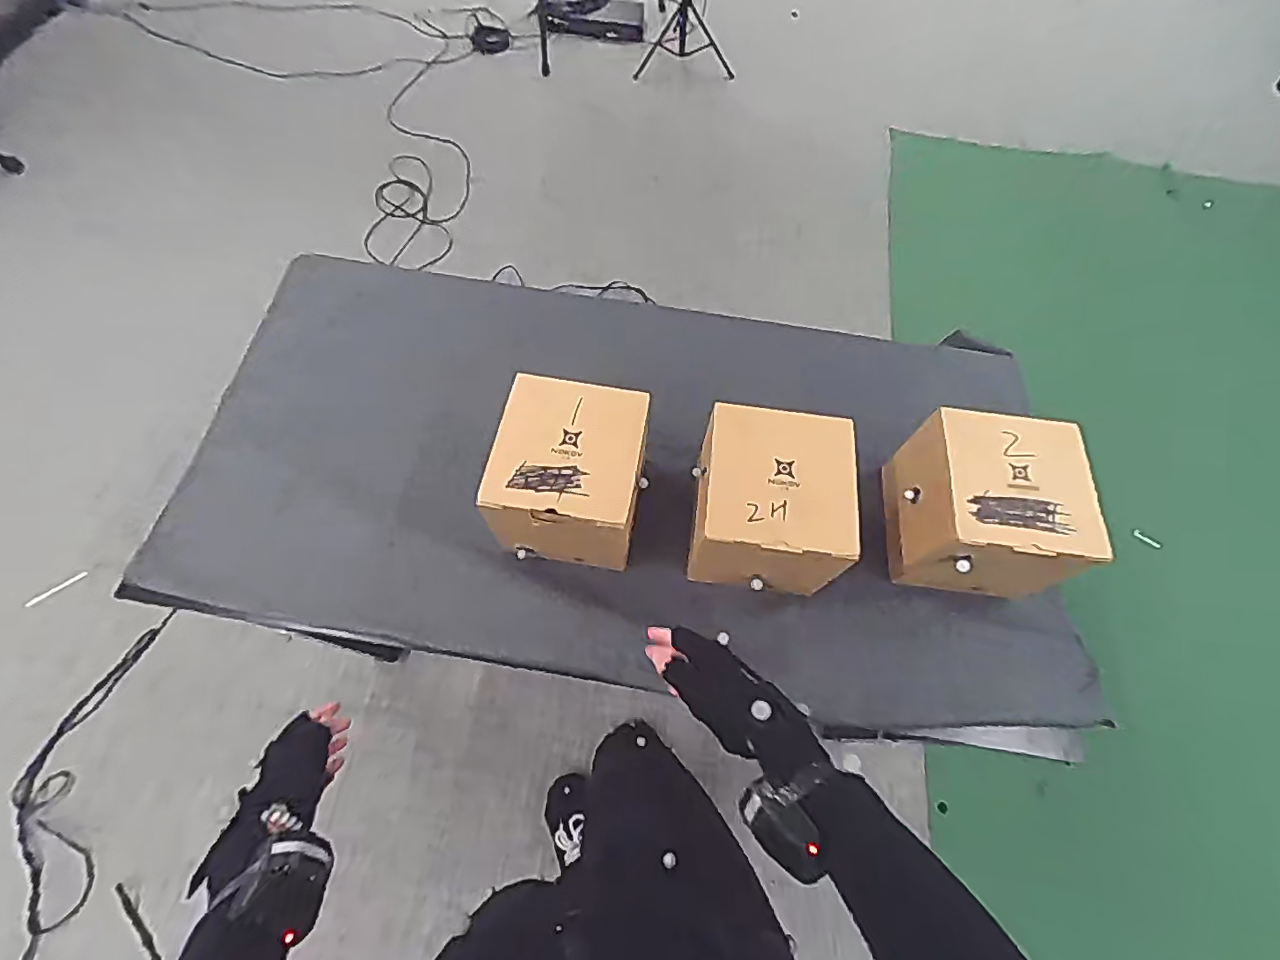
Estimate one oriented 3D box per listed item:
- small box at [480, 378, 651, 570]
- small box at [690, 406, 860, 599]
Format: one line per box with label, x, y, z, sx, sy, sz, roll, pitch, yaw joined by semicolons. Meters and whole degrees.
small box;-0.082;0.001;0.683;0.168;0.176;0.179;9;63;1
small box;0.158;0.034;0.676;0.168;0.176;0.179;8;64;1
